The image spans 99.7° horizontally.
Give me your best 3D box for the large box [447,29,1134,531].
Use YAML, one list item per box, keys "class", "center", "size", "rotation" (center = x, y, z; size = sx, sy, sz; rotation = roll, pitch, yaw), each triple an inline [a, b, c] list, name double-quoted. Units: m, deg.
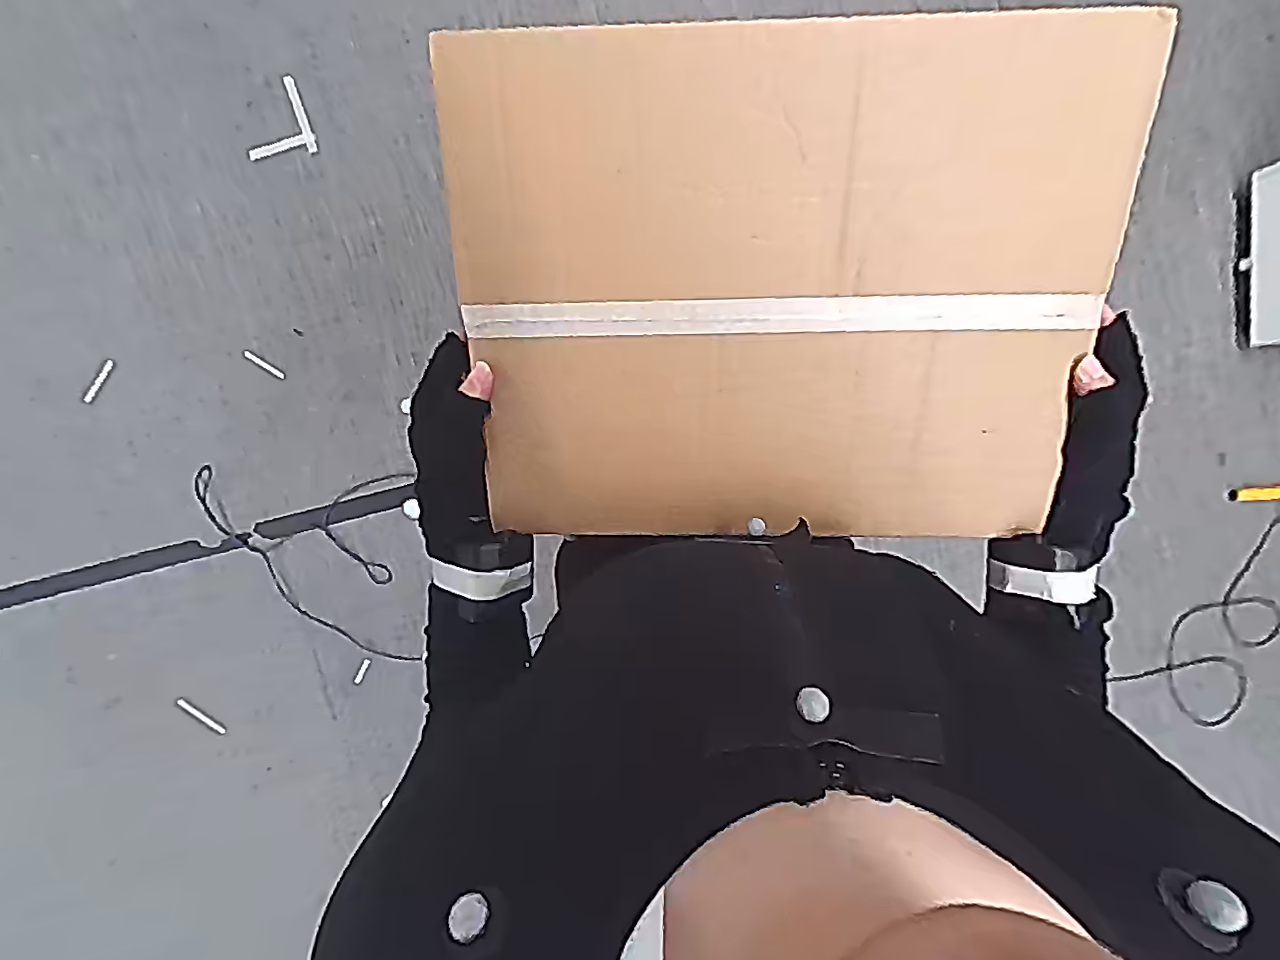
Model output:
- class: "large box"
  center: [0.089, -0.158, 0.503]
  size: [0.408, 0.320, 0.320]
  rotation: [0, 112, 2]
